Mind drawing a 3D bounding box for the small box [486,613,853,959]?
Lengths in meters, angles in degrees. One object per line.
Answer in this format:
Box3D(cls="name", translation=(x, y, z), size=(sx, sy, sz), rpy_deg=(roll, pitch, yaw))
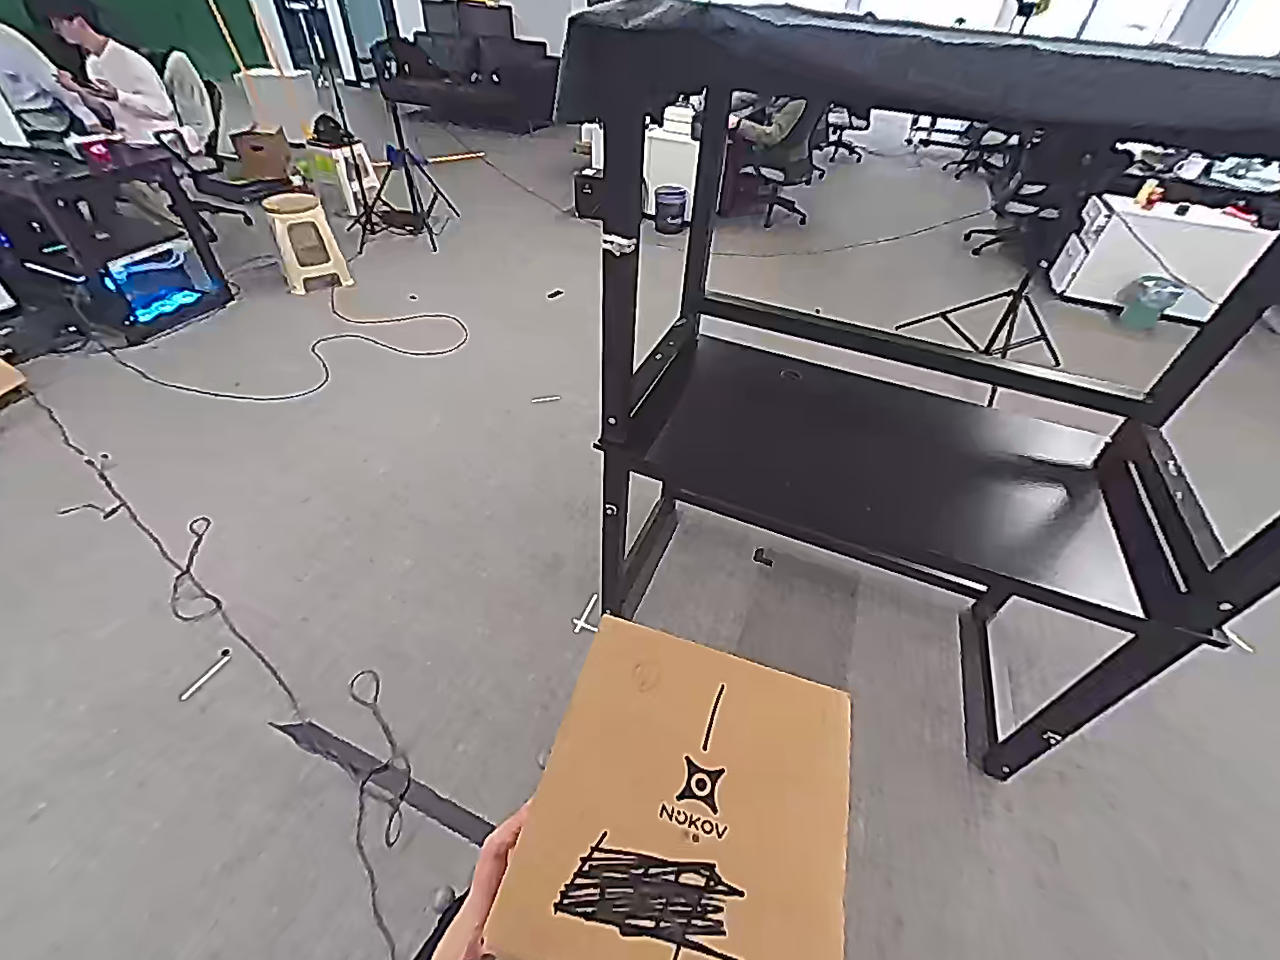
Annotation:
Box3D(cls="small box", translation=(0.022, 0.223, 0.351), size=(0.168, 0.176, 0.179), rpy_deg=(17, 49, 6))
